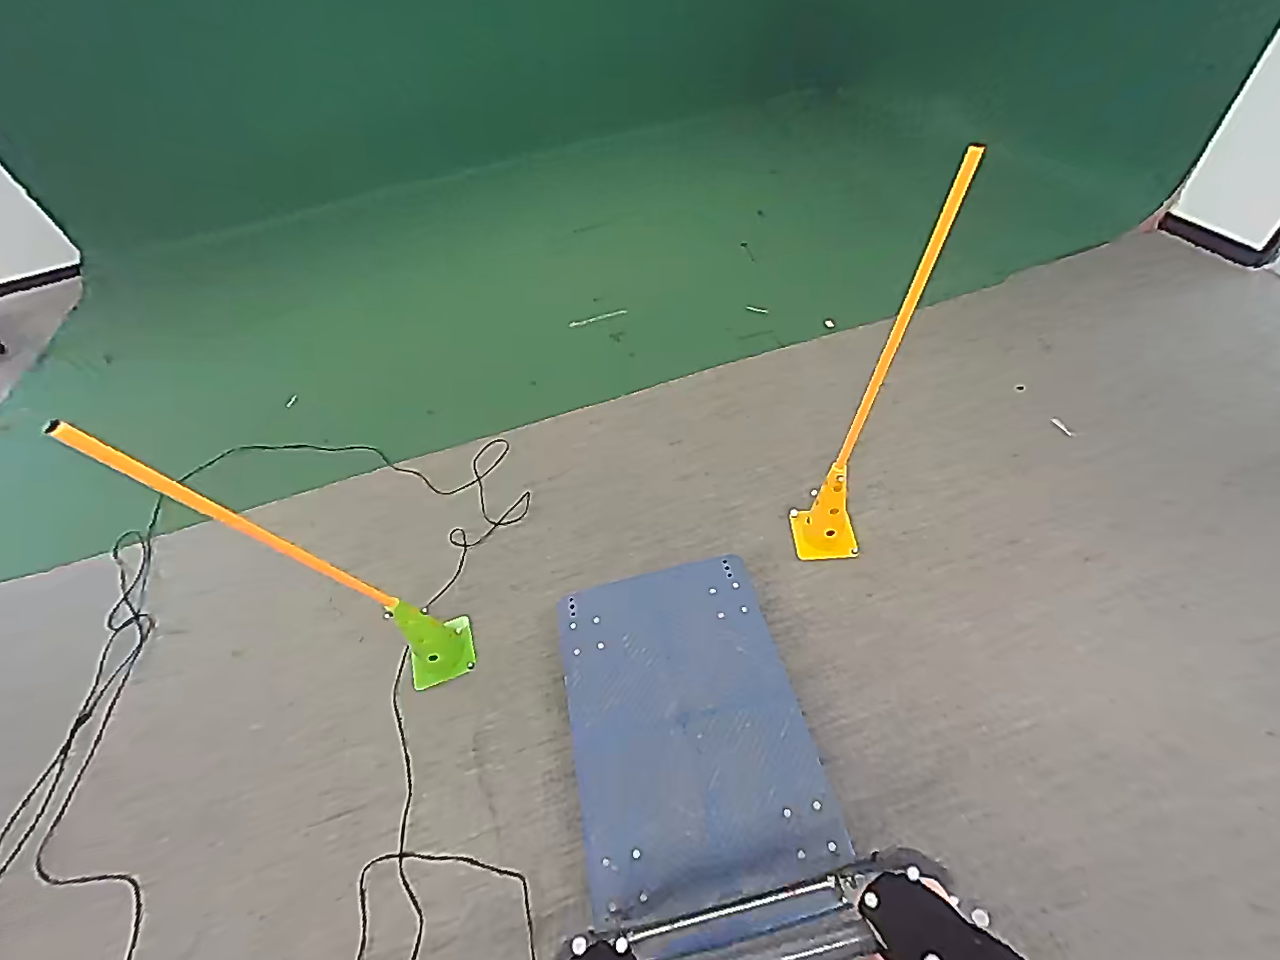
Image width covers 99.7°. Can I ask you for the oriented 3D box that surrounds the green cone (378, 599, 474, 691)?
[{"bbox_3d":[-0.670,0.451,1.620,0.202,0.368,0.200,-21,50,-6],"label":"green cone"}]
